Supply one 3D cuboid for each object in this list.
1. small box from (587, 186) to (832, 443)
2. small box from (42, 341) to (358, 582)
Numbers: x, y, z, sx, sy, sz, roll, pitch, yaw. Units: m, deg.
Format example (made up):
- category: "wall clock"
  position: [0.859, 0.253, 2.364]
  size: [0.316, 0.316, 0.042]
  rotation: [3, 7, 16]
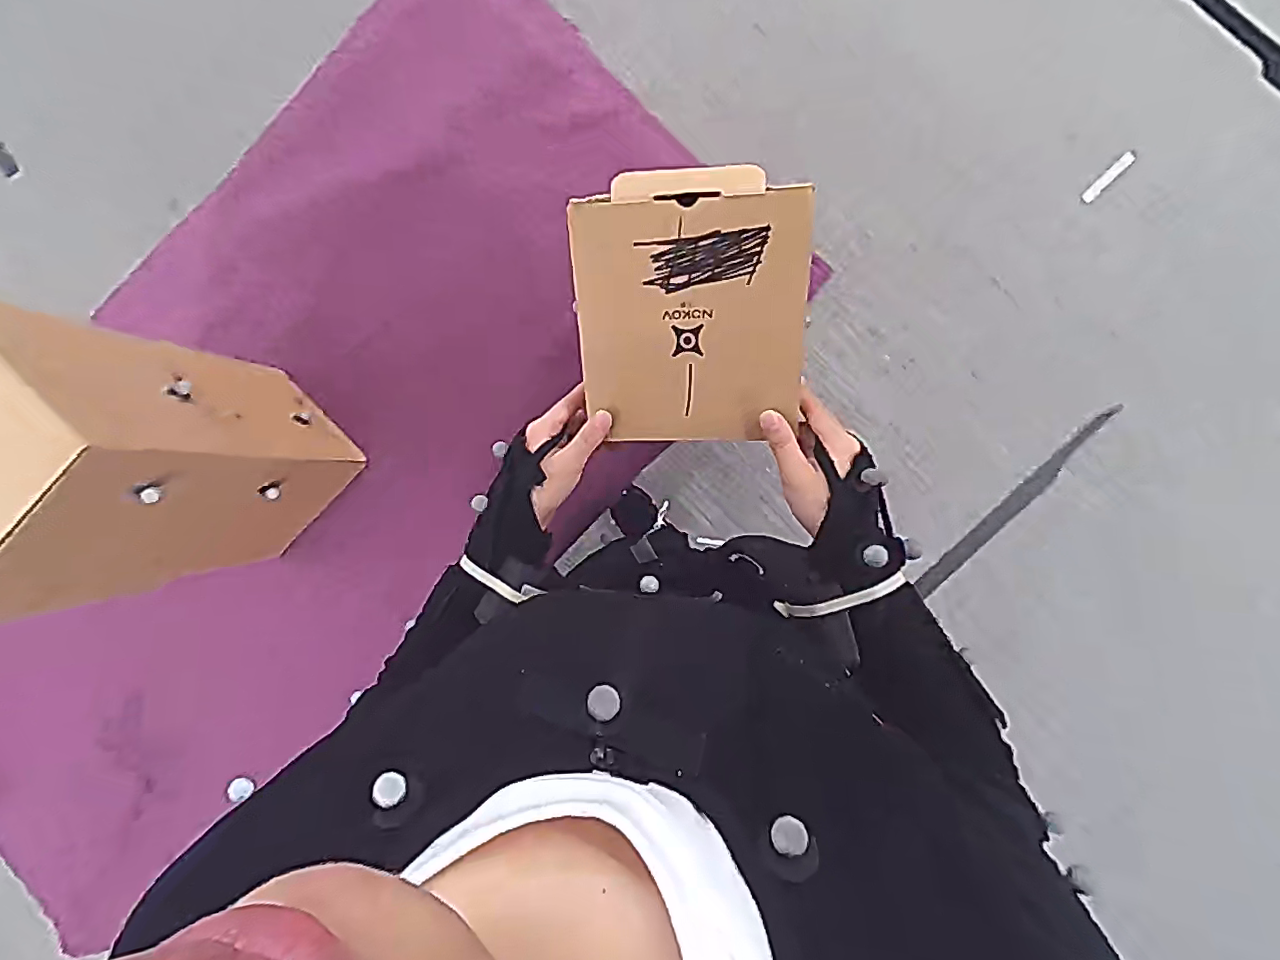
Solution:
- category: "small box"
  position: [0.054, -0.141, 0.461]
  size: [0.168, 0.176, 0.179]
  rotation: [2, 114, 8]
- category: "small box"
  position: [-0.461, -0.016, 0.597]
  size: [0.168, 0.176, 0.179]
  rotation: [44, 92, 3]
